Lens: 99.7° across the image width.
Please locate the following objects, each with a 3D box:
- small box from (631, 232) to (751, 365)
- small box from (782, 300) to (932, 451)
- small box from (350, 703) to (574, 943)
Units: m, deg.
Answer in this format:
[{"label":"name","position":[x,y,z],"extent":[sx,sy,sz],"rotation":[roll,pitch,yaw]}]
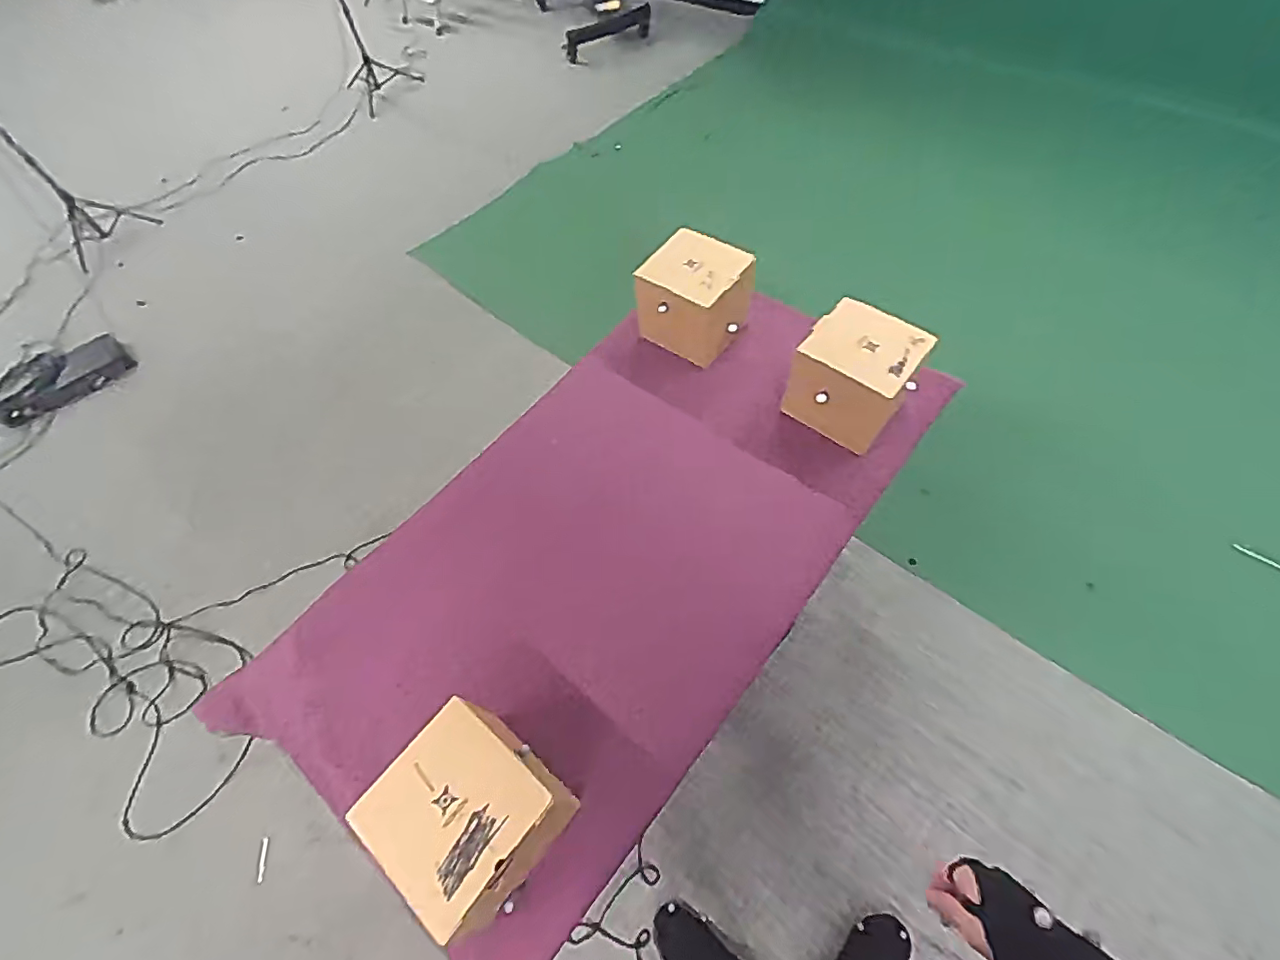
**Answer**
[{"label":"small box","position":[0.105,-0.366,1.108],"extent":[0.179,0.176,0.168],"rotation":[33,70,21]},{"label":"small box","position":[0.377,-0.182,0.972],"extent":[0.179,0.176,0.168],"rotation":[35,70,23]},{"label":"small box","position":[-0.207,0.414,0.677],"extent":[0.179,0.176,0.168],"rotation":[33,67,24]}]
